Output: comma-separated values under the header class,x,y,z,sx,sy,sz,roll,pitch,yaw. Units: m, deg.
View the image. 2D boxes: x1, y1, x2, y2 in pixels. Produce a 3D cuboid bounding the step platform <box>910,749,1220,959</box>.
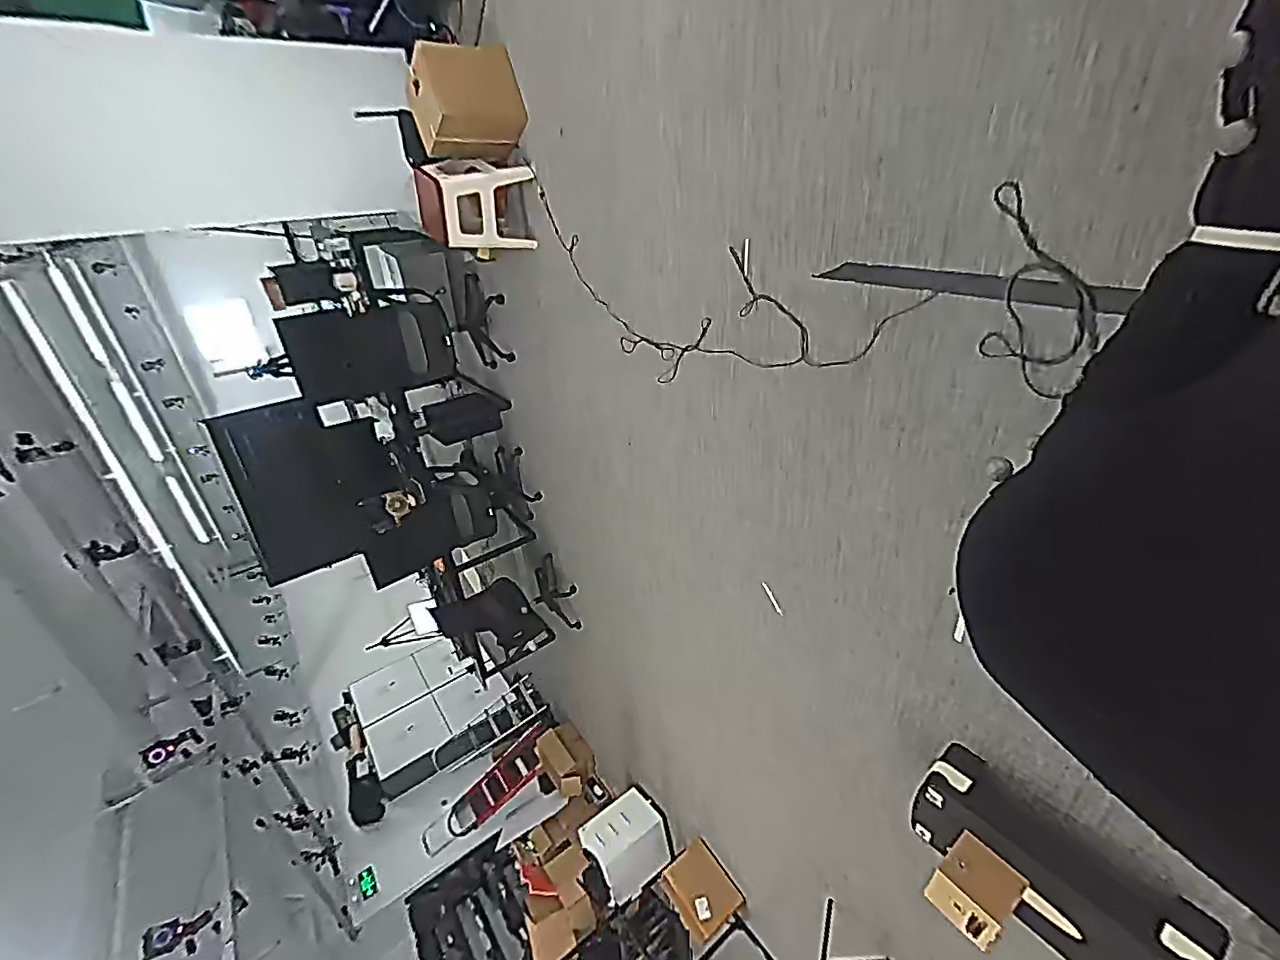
class,x,y,z,sx,sy,sz,roll,pitch,yaw
step platform,1.146,1.134,1.555,0.684,0.204,0.286,29,134,45
